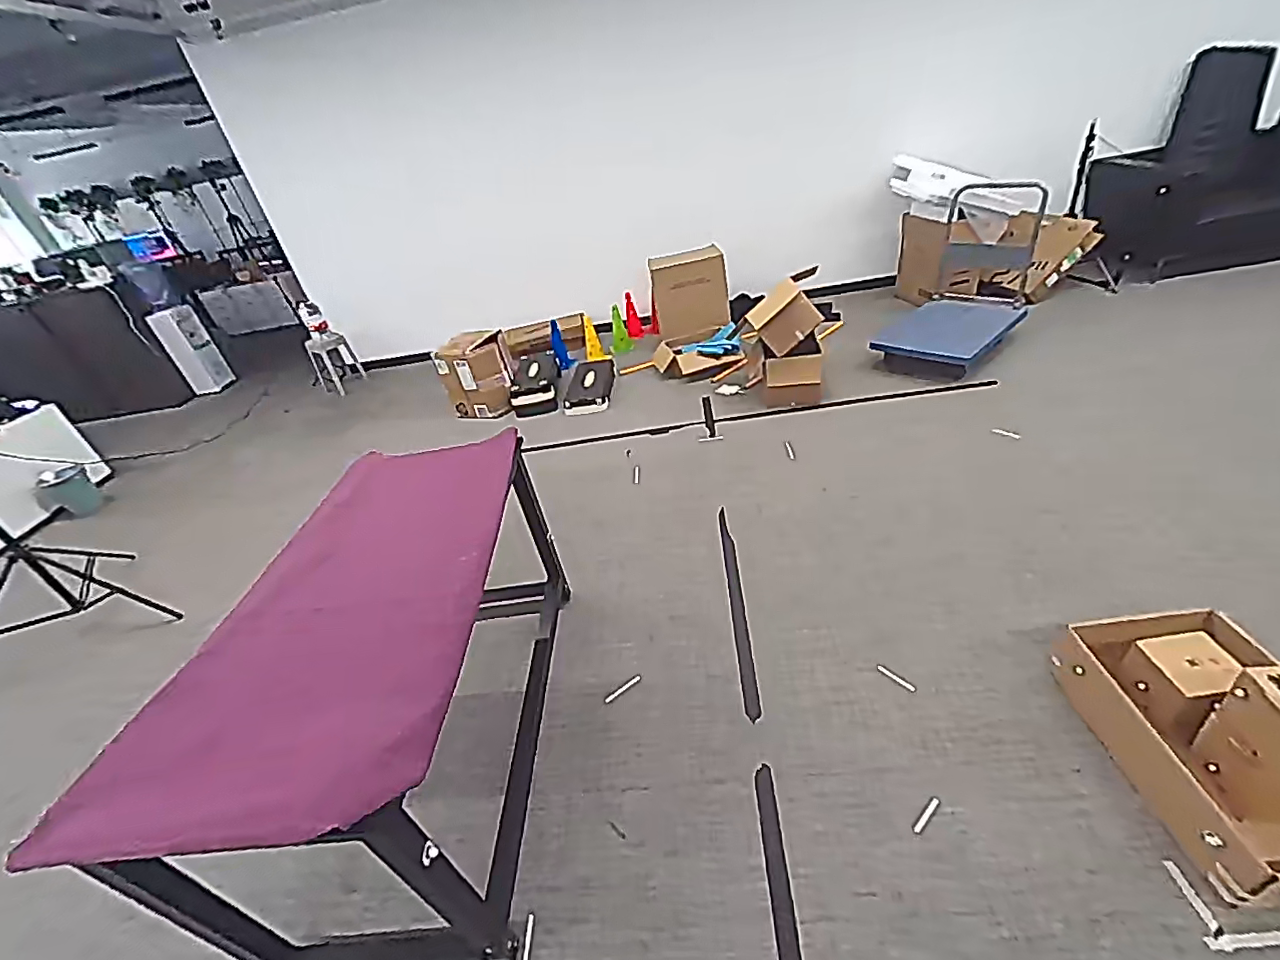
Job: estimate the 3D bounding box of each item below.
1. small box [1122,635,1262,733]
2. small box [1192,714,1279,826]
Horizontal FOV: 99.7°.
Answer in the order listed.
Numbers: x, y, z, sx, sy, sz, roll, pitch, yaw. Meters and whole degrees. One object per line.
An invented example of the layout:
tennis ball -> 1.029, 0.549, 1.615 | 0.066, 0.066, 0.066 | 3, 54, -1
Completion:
small box -> 1.390, 0.525, 1.383 | 0.179, 0.176, 0.168 | -9, 35, 4
small box -> 1.410, 0.647, 1.206 | 0.179, 0.176, 0.168 | -6, 32, 10
